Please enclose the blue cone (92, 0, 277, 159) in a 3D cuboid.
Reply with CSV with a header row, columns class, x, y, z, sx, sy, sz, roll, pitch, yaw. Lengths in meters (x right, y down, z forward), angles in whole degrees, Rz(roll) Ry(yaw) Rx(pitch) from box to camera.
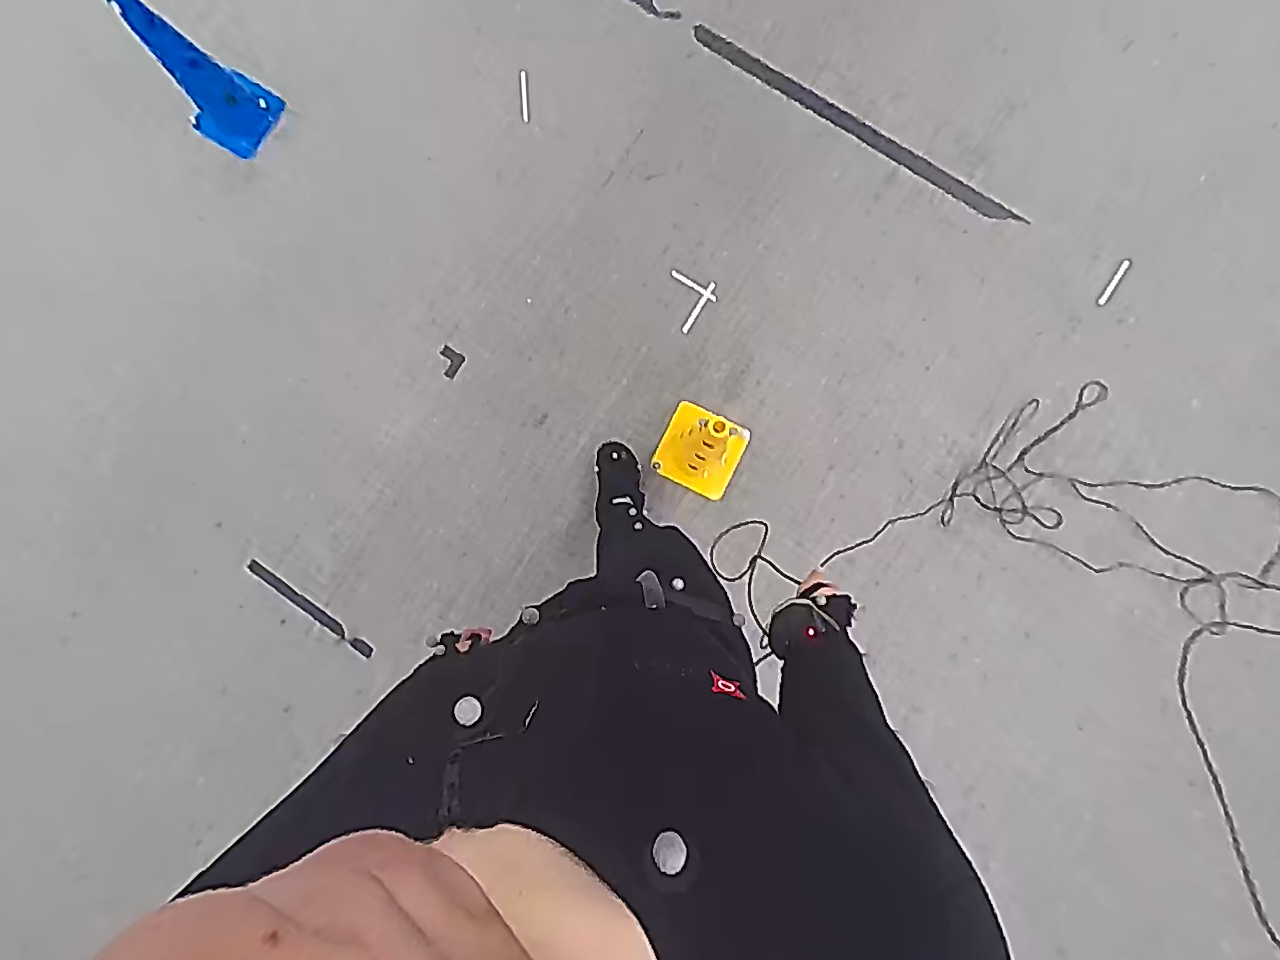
class,x,y,z,sx,sy,sz,roll,pitch,yaw
blue cone,-1.092,-0.985,1.288,0.193,0.380,0.192,34,88,3
